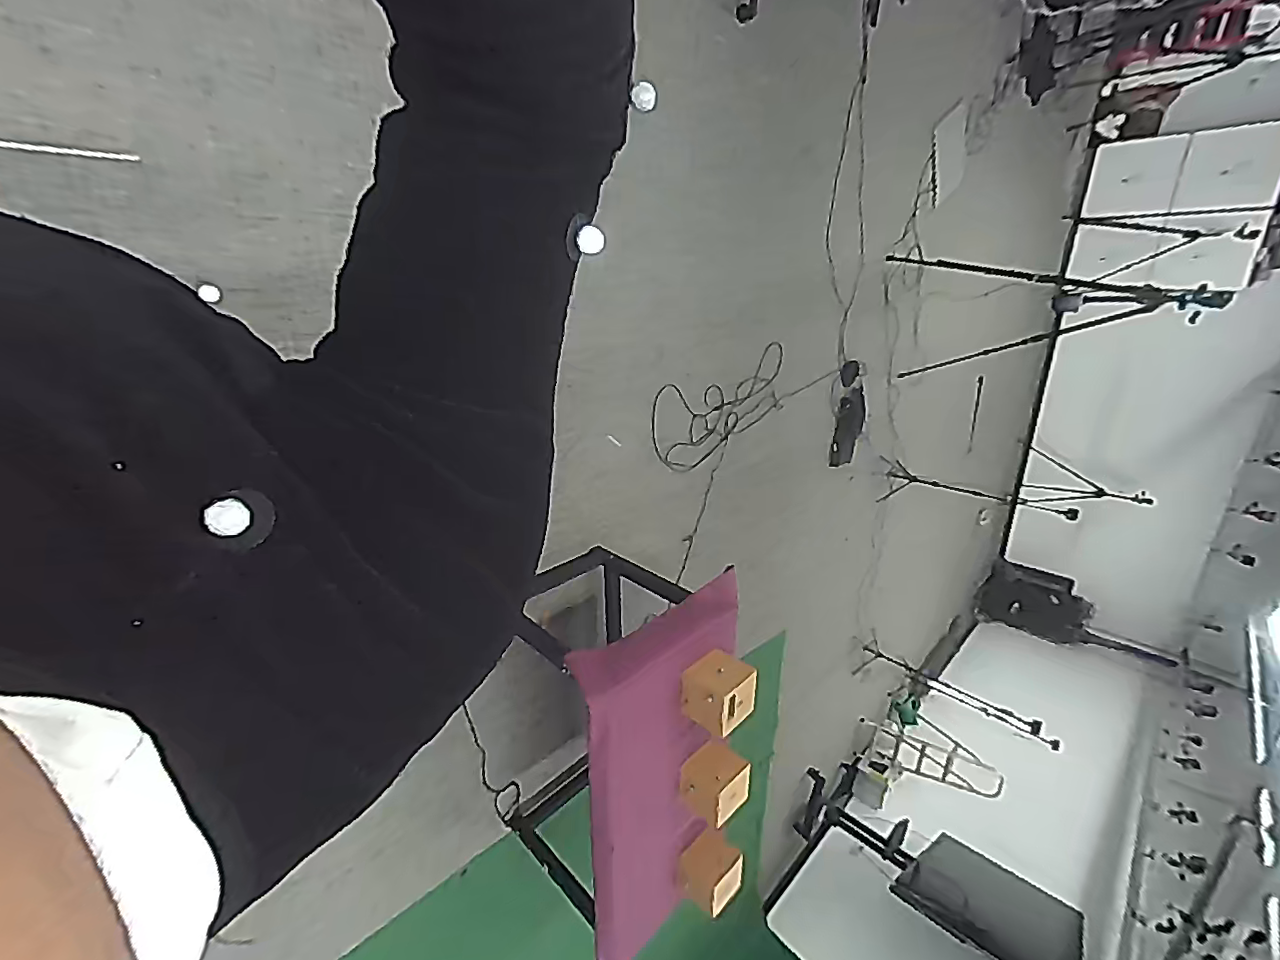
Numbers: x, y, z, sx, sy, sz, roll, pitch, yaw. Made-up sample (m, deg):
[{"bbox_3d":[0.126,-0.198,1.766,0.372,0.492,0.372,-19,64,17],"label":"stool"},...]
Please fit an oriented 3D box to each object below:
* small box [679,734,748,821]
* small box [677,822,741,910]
[{"bbox_3d":[0.257,1.041,1.910,0.179,0.176,0.168,-19,117,-41],"label":"small box"},{"bbox_3d":[0.260,1.457,2.055,0.179,0.176,0.168,-17,115,-42],"label":"small box"}]
